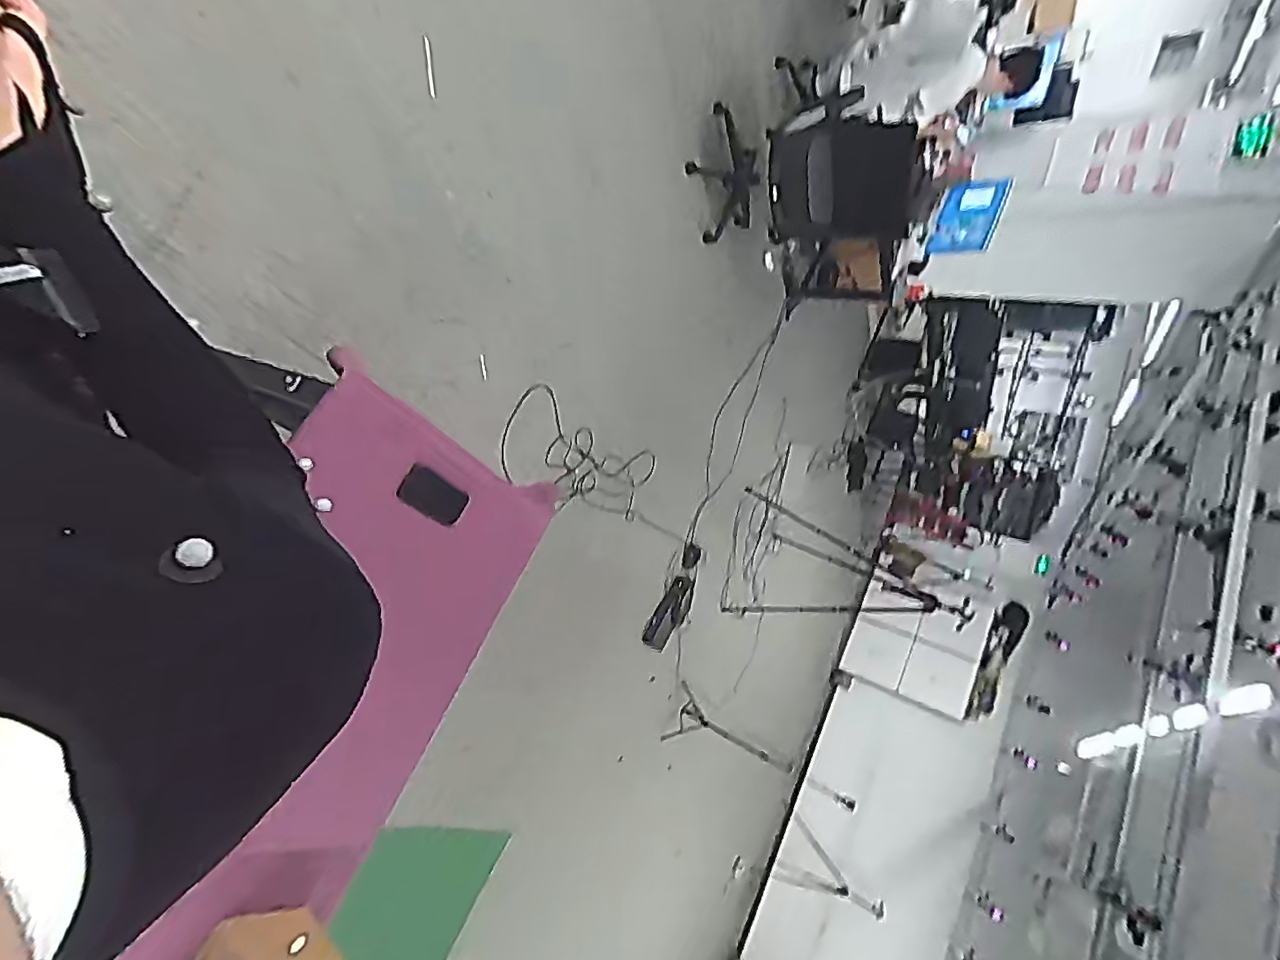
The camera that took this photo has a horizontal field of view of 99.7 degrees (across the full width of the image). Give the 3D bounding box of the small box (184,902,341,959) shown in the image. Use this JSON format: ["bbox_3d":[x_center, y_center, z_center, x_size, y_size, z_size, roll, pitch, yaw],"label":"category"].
[{"bbox_3d":[-0.681,0.881,0.945,0.168,0.176,0.179,-62,145,-16],"label":"small box"}]
